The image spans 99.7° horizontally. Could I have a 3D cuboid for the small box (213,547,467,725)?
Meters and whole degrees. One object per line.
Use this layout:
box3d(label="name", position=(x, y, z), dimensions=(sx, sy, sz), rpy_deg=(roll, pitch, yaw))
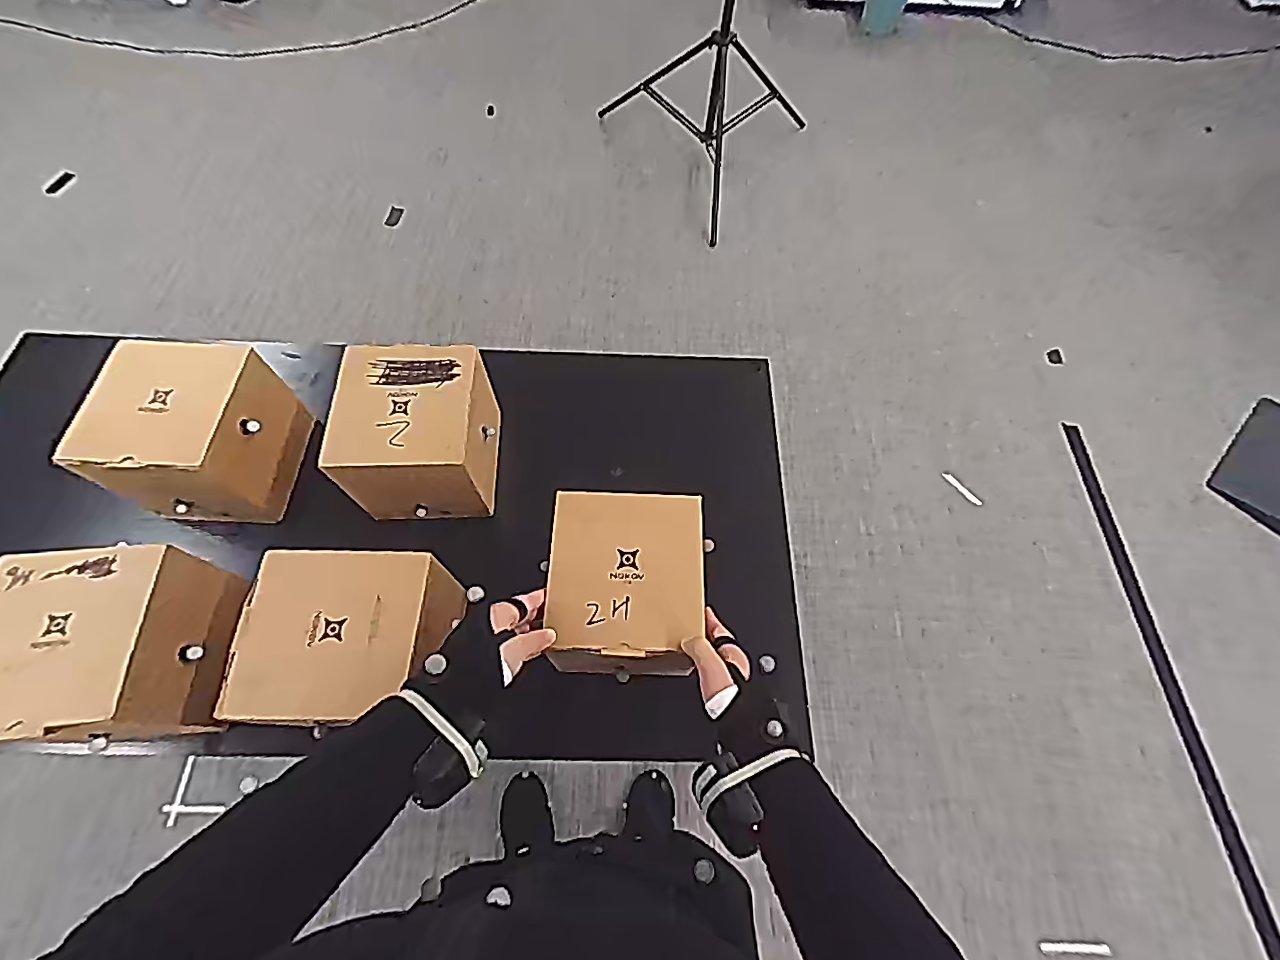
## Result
box3d(label="small box", position=(-0.314, 0.182, 0.611), dimensions=(0.179, 0.176, 0.168), rpy_deg=(2, 64, -2))

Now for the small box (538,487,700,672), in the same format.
box3d(label="small box", position=(-0.021, 0.125, 0.649), dimensions=(0.168, 0.176, 0.179), rpy_deg=(2, 64, 0))

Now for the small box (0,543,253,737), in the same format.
box3d(label="small box", position=(-0.571, 0.183, 0.599), dimensions=(0.168, 0.176, 0.179), rpy_deg=(-4, 64, -4))

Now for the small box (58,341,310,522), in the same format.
box3d(label="small box", position=(-0.578, -0.059, 0.720), dimensions=(0.168, 0.176, 0.179), rpy_deg=(3, 64, -1))
